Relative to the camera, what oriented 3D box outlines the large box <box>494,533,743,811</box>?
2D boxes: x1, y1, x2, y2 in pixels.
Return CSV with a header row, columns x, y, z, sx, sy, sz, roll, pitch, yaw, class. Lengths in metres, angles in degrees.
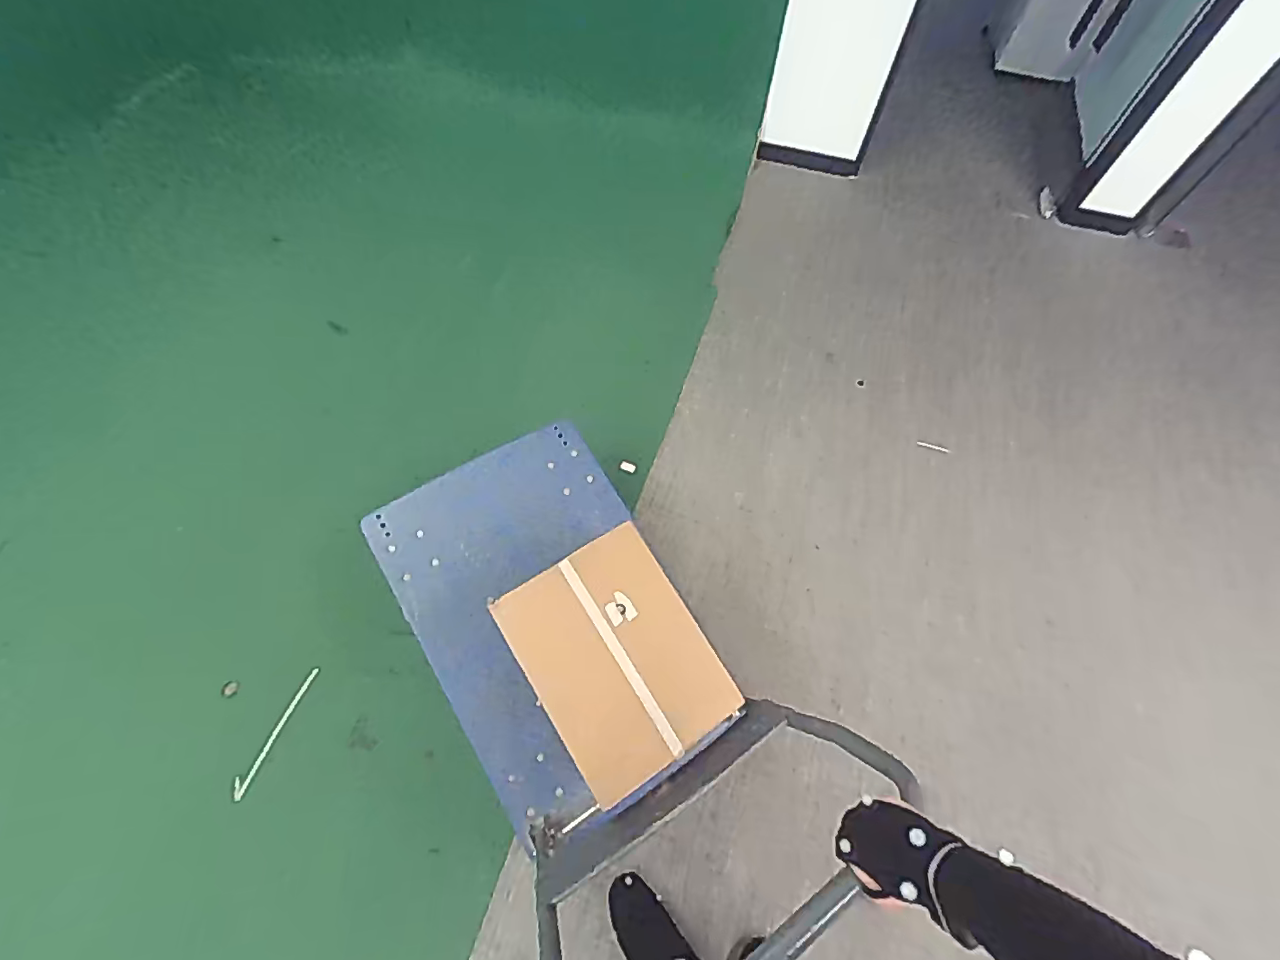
x,y,z,sx,sy,sz,roll,pitch,yaw,class
-0.058,0.383,1.142,0.320,0.320,0.408,-30,79,-17,large box
